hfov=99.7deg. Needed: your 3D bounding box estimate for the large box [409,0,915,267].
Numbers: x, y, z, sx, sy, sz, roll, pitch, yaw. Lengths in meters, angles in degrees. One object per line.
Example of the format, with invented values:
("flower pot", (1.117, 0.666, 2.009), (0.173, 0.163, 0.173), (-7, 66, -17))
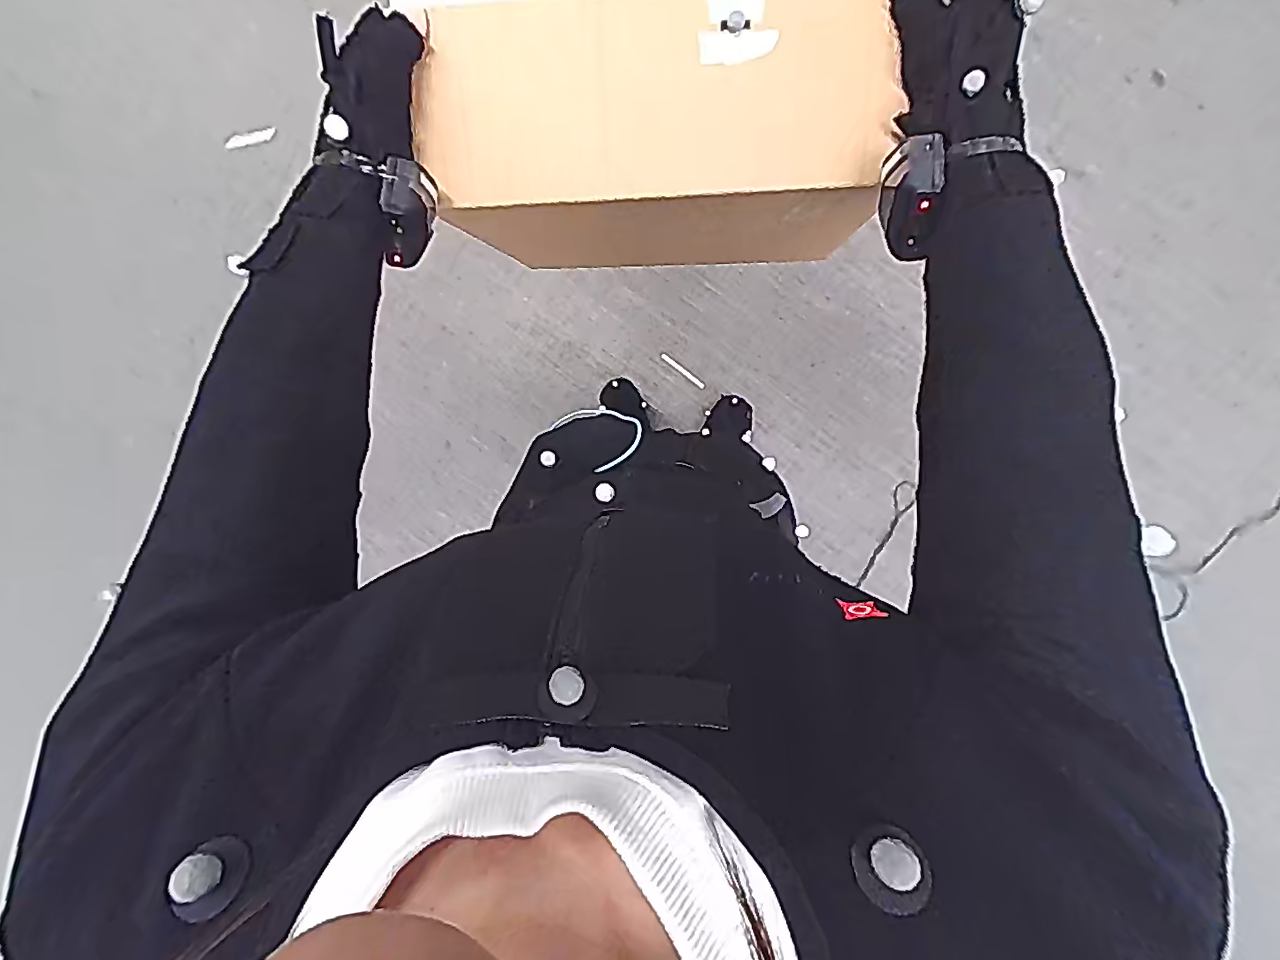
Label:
("large box", (0.021, -0.422, 0.563), (0.408, 0.320, 0.320), (-1, 102, 6))
